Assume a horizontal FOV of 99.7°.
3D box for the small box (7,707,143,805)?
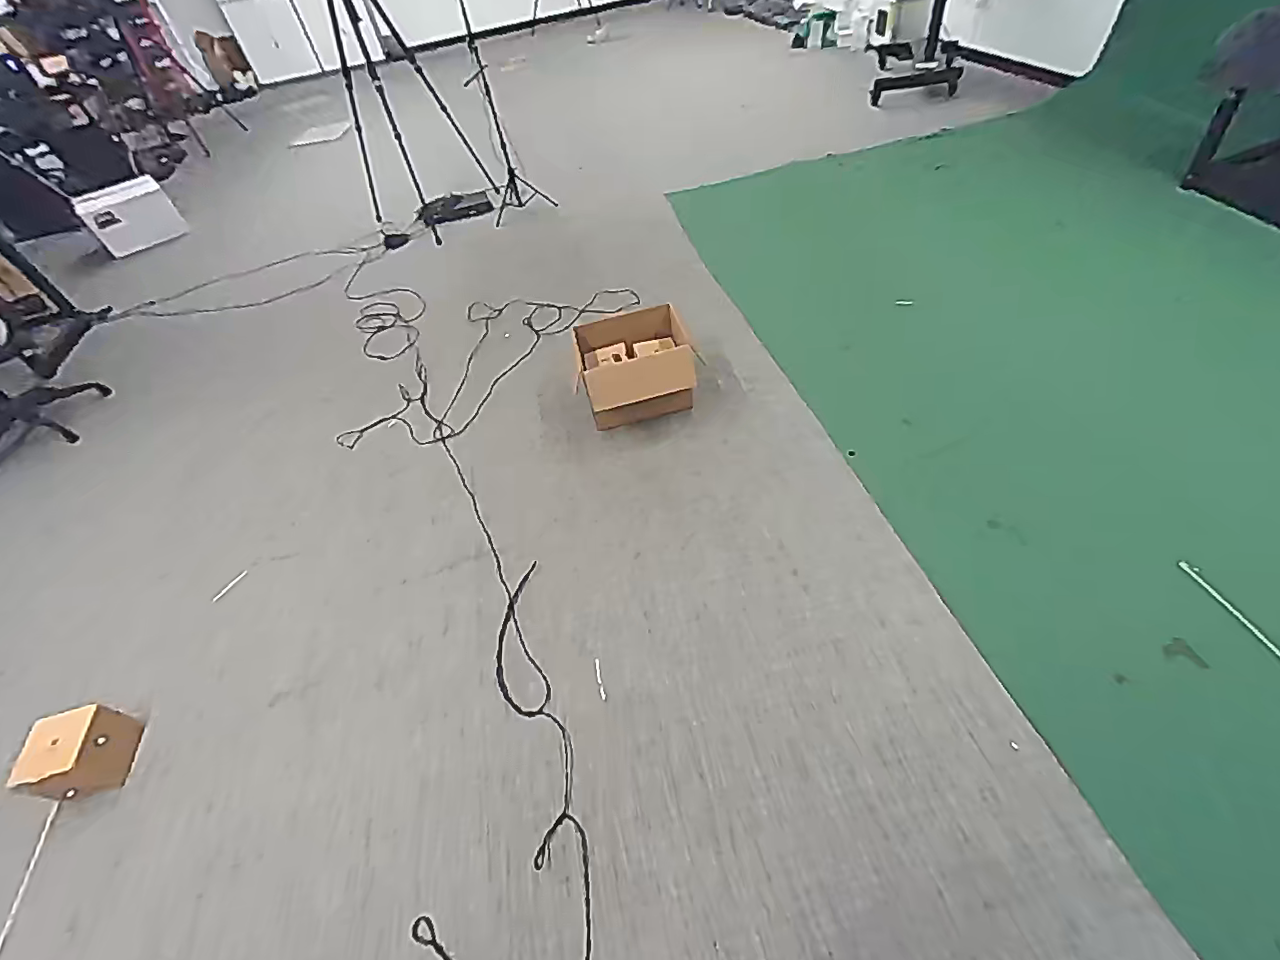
[{"bbox_3d":[-1.522,0.755,1.476,0.168,0.176,0.179,-16,49,-5],"label":"small box"}]
